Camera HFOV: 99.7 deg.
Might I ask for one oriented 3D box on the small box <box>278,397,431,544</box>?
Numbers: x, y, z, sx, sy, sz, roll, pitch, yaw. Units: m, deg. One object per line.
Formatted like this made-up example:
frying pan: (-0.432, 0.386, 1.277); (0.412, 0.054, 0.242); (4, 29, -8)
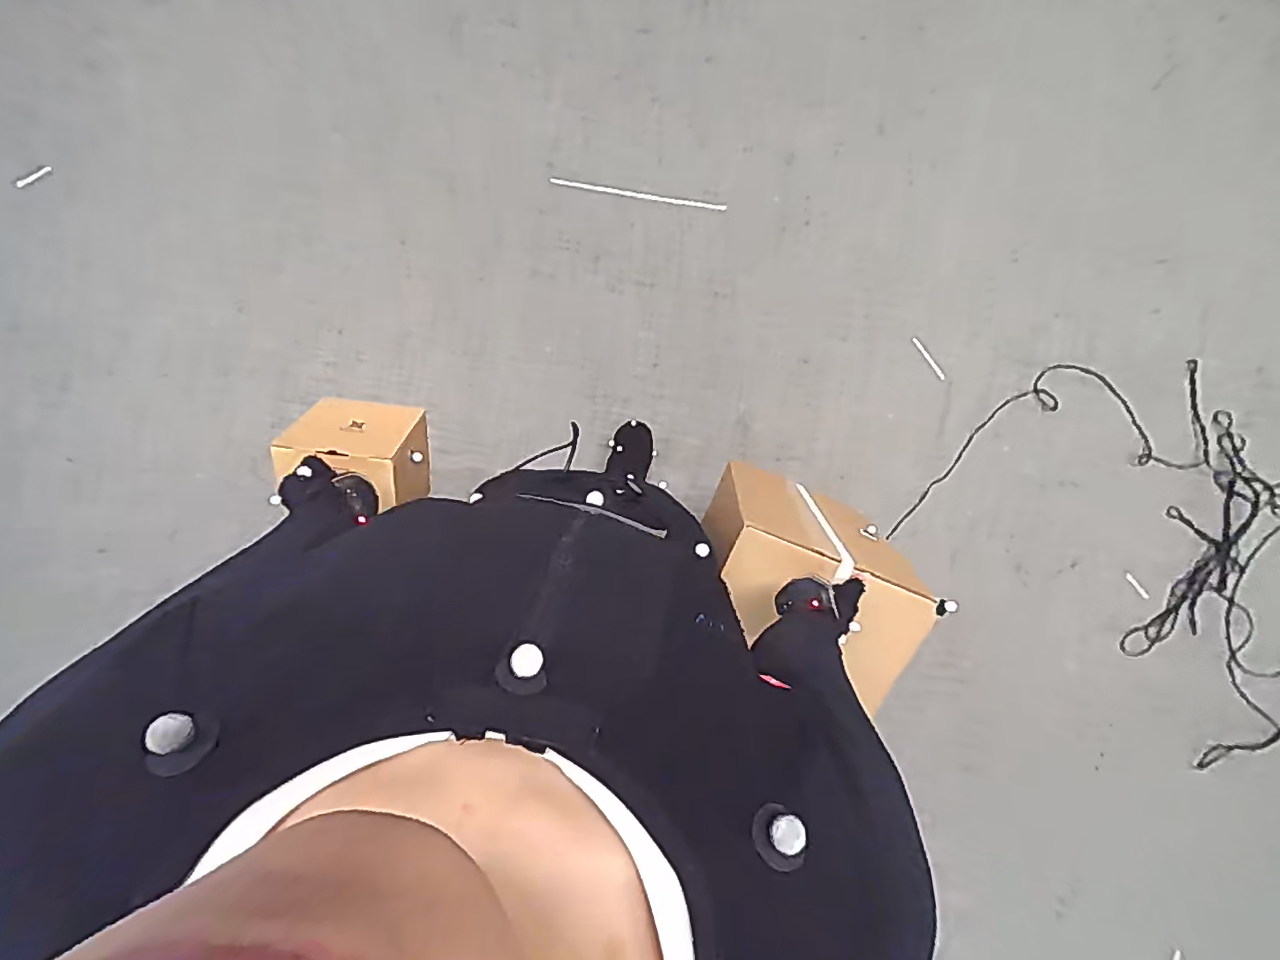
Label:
small box: (-0.450, -0.018, 0.885); (0.168, 0.179, 0.176); (5, 121, -6)
